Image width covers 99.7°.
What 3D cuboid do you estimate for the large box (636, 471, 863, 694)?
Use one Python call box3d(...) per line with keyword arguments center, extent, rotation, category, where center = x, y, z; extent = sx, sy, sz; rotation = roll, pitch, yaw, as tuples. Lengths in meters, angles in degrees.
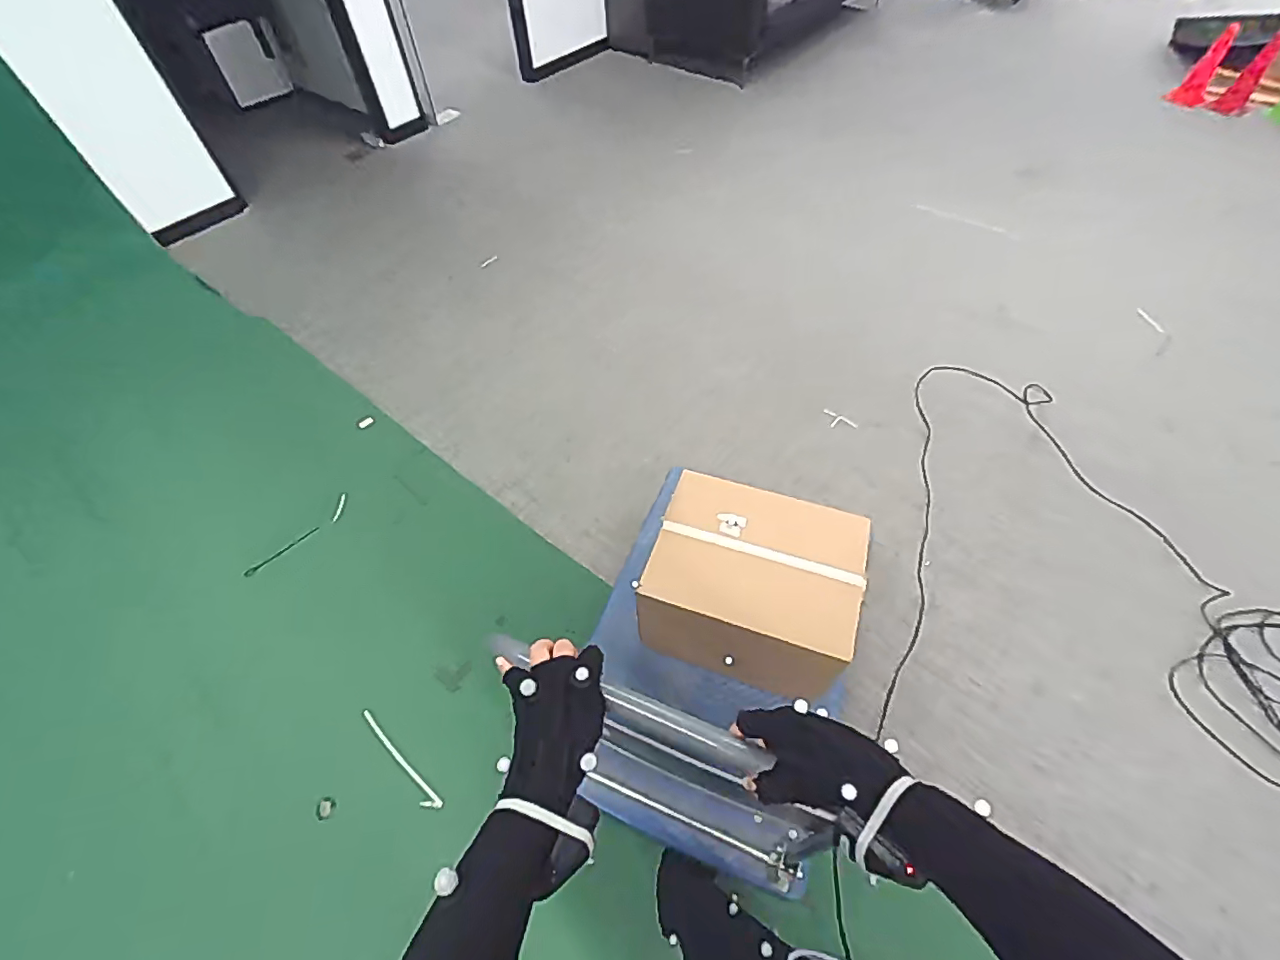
box3d(center=(0.234, 0.231, 1.196), extent=(0.408, 0.320, 0.320), rotation=(15, 56, 13), category="large box")
